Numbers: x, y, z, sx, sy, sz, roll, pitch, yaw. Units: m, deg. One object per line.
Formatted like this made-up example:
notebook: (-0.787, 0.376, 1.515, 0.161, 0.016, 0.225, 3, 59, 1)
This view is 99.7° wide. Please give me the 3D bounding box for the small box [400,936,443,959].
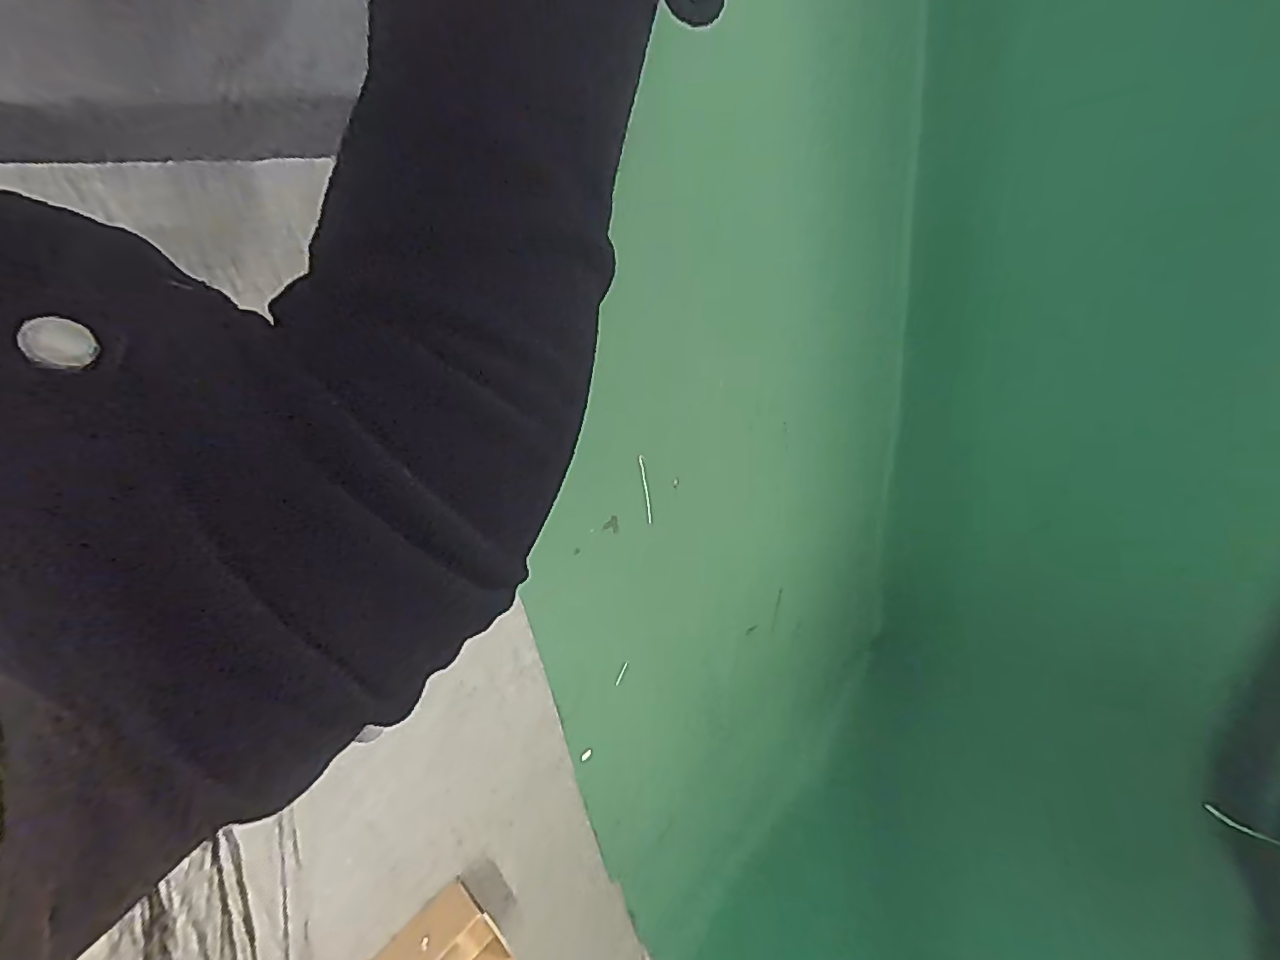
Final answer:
small box: (-0.737, 1.702, 1.807, 0.179, 0.176, 0.168, -34, 126, -35)
